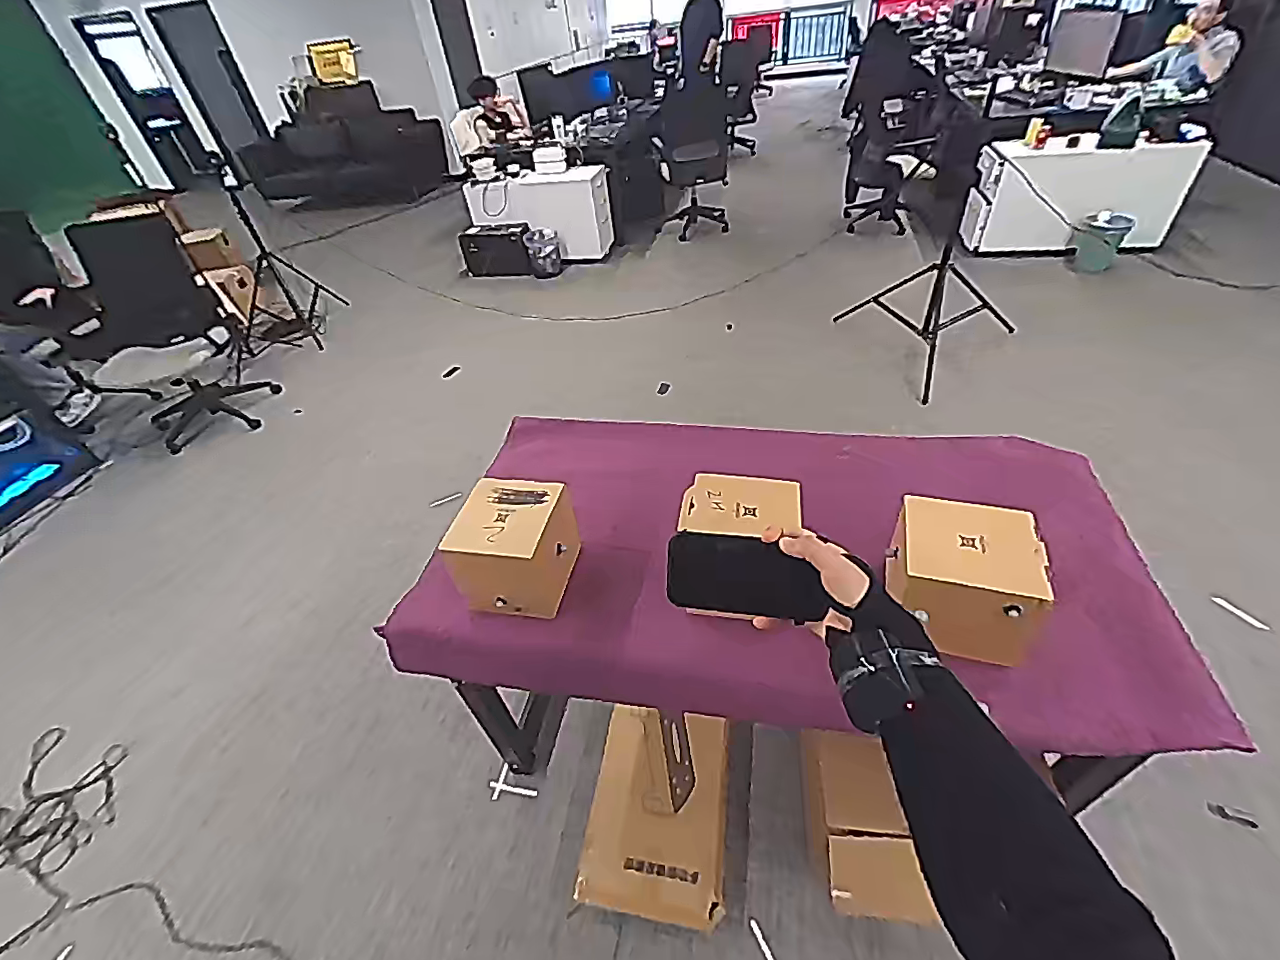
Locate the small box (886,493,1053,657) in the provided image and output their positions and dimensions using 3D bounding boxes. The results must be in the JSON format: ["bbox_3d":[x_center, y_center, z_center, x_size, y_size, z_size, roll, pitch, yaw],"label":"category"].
[{"bbox_3d":[0.478,0.143,0.818,0.179,0.176,0.168,8,44,17],"label":"small box"}]

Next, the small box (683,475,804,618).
[{"bbox_3d":[0.171,0.111,0.901,0.179,0.176,0.168,3,40,12],"label":"small box"}]
